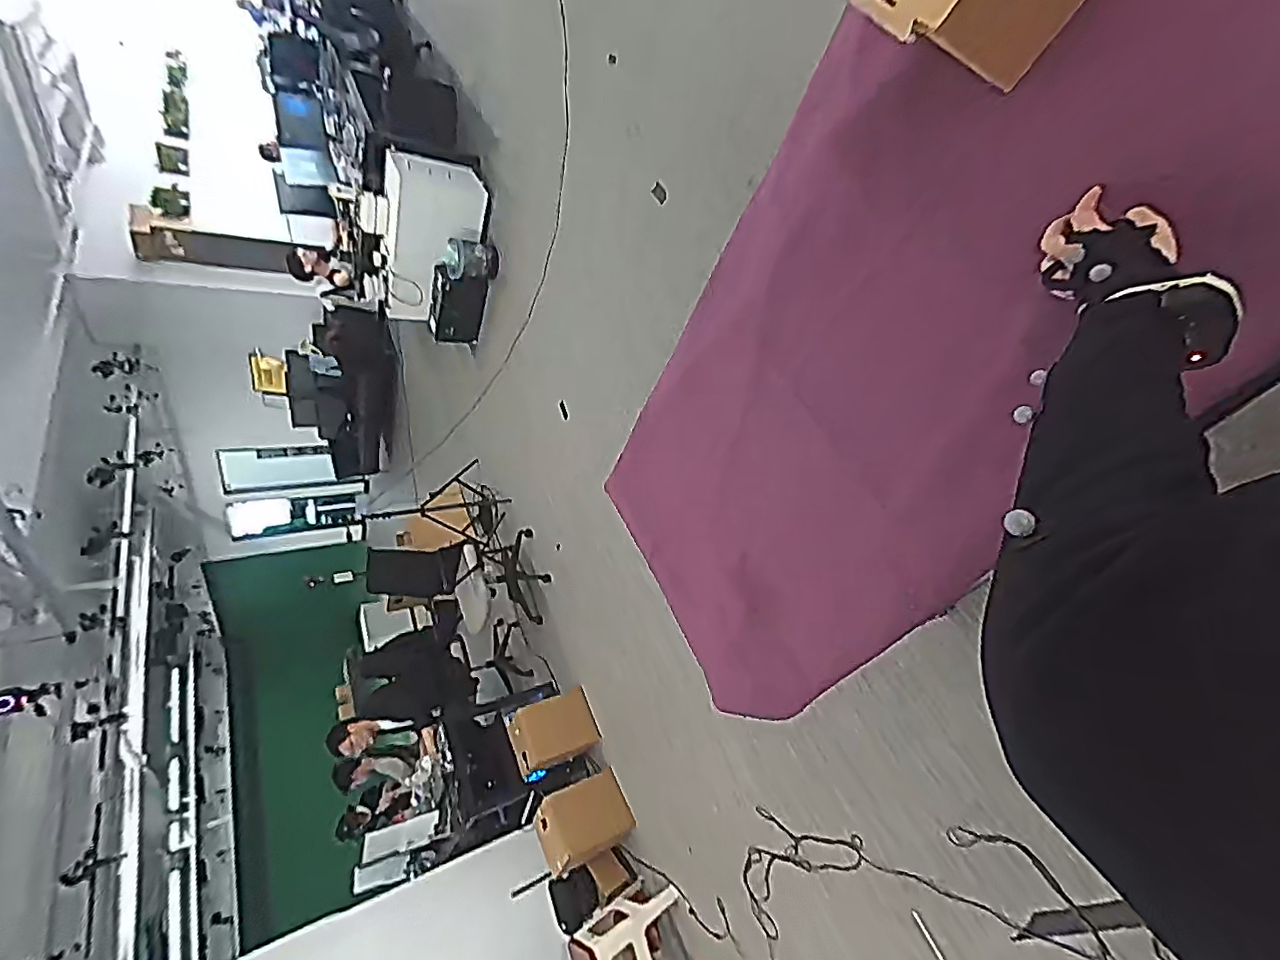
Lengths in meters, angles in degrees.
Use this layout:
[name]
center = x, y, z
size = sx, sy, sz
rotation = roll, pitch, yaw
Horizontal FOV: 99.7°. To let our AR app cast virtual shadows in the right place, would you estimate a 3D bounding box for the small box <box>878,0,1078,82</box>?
[small box]
center = 0.336, -0.526, 0.512
size = 0.179, 0.176, 0.168
rotation = -54, 54, 44
